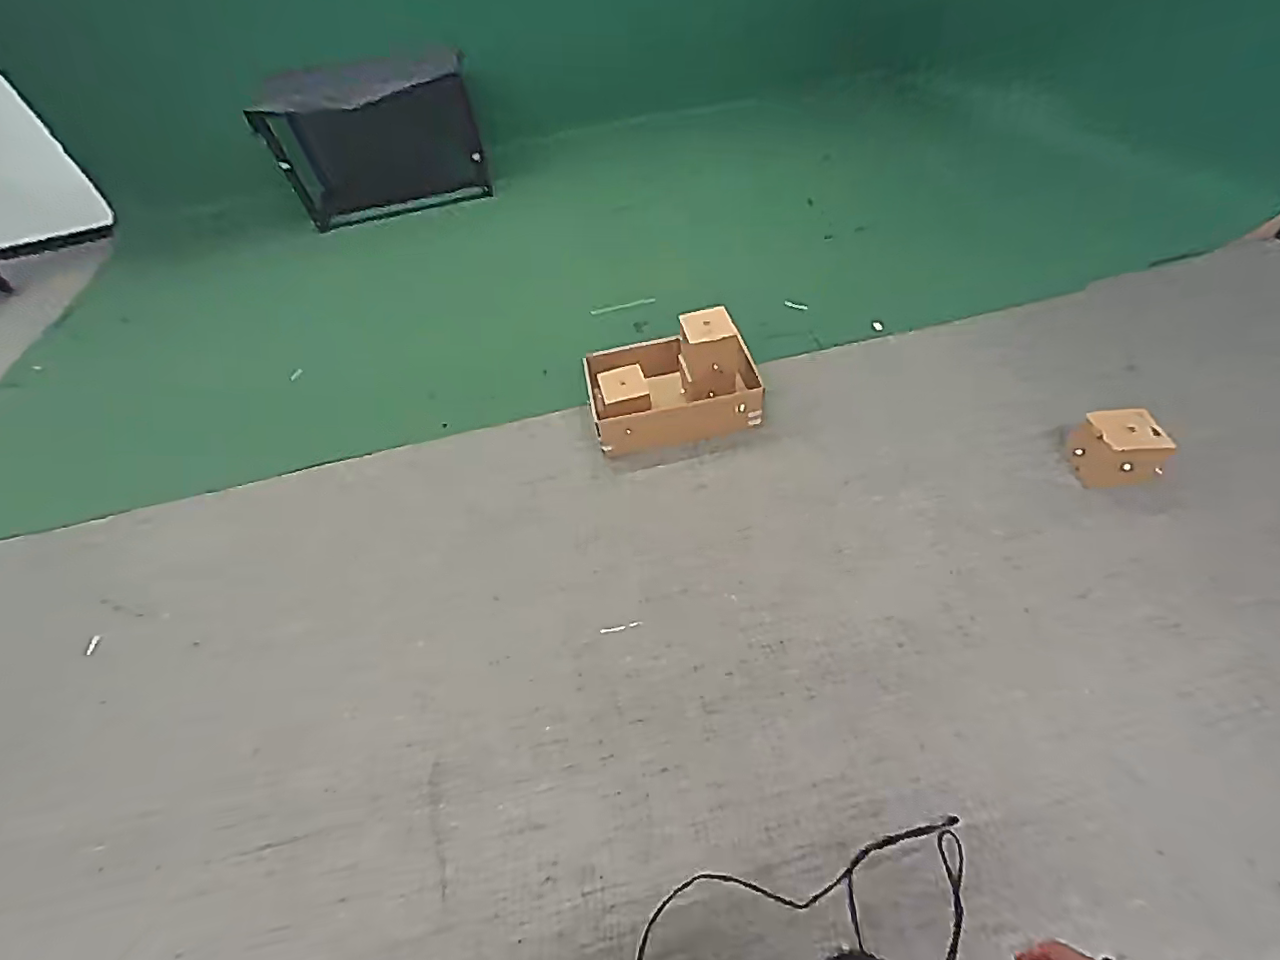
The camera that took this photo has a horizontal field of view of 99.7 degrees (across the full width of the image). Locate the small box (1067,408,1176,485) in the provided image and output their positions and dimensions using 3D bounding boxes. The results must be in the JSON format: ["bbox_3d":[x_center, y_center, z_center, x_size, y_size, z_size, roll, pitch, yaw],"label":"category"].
[{"bbox_3d":[1.468,-0.100,1.669,0.179,0.176,0.168,-5,50,6],"label":"small box"}]

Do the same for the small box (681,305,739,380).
[{"bbox_3d":[0.243,-0.480,1.892,0.168,0.176,0.179,-13,51,-1],"label":"small box"}]
